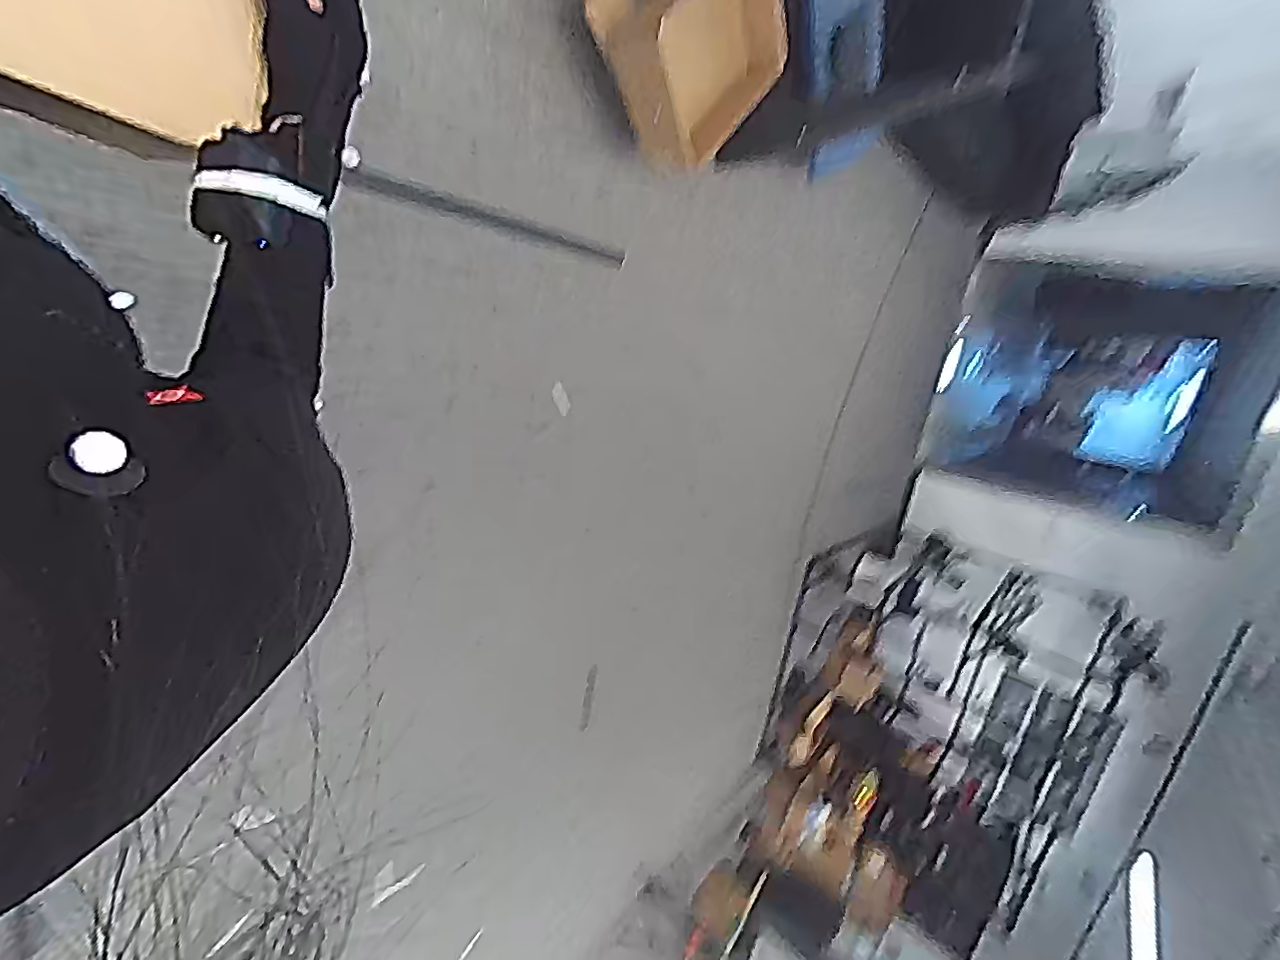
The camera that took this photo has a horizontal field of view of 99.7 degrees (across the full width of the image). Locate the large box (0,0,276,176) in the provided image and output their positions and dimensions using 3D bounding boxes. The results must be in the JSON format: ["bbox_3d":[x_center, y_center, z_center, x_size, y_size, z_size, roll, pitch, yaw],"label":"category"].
[{"bbox_3d":[-0.490,-0.426,0.311,0.408,0.320,0.320,0,112,-54],"label":"large box"}]
